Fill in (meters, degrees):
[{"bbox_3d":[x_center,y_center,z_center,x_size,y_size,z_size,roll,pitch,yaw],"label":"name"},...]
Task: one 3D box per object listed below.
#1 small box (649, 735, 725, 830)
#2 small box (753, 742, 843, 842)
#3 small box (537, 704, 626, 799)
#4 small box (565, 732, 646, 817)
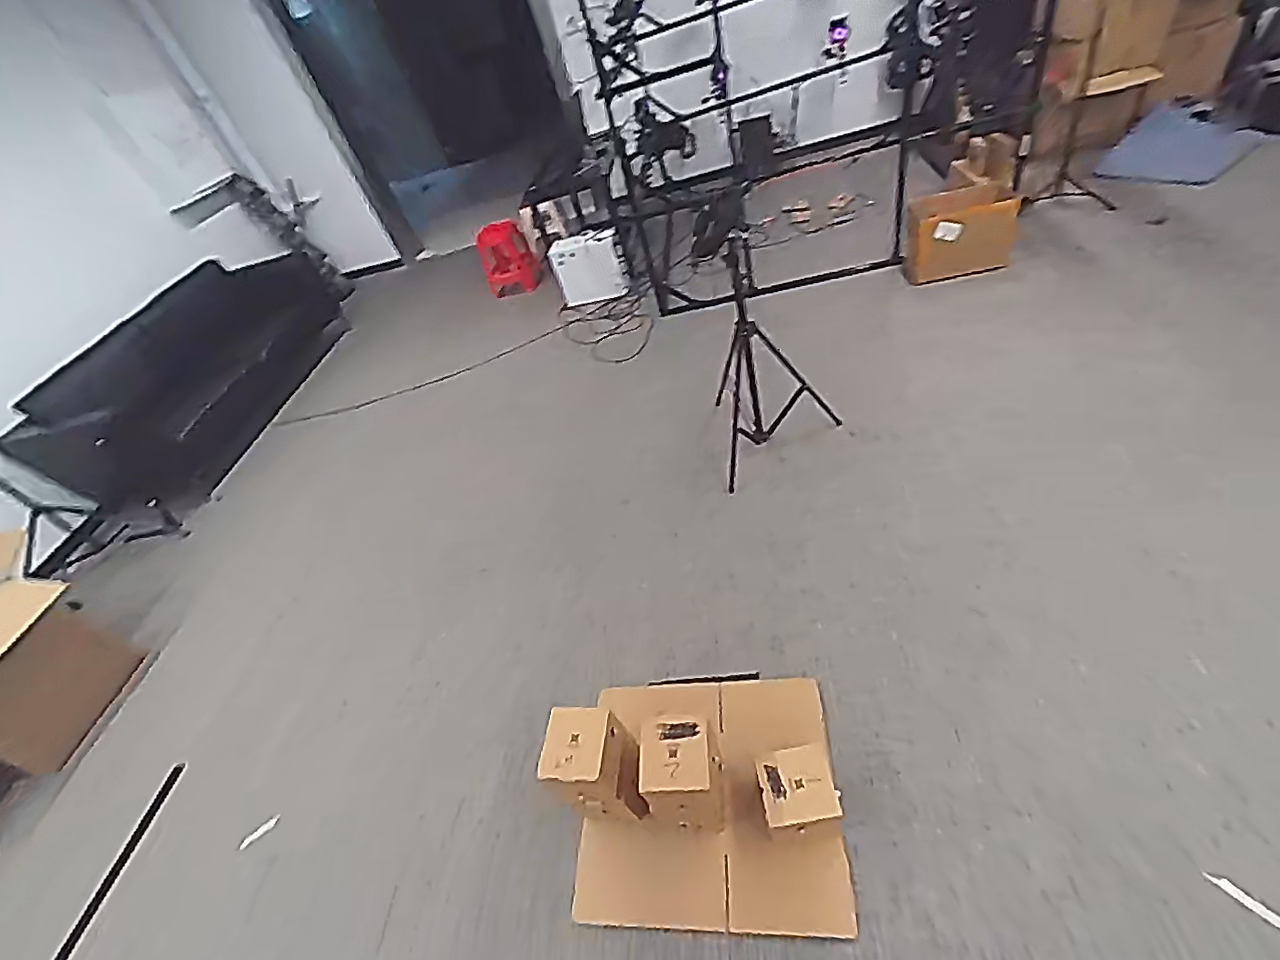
[{"bbox_3d":[0.131,0.802,1.436,0.168,0.176,0.179,-6,45,16],"label":"small box"},{"bbox_3d":[0.396,0.782,1.351,0.179,0.176,0.168,-14,43,7],"label":"small box"},{"bbox_3d":[-0.142,0.702,1.400,0.168,0.176,0.179,-6,45,17],"label":"small box"},{"bbox_3d":[-0.088,0.819,1.504,0.168,0.176,0.179,-7,45,16],"label":"small box"}]
